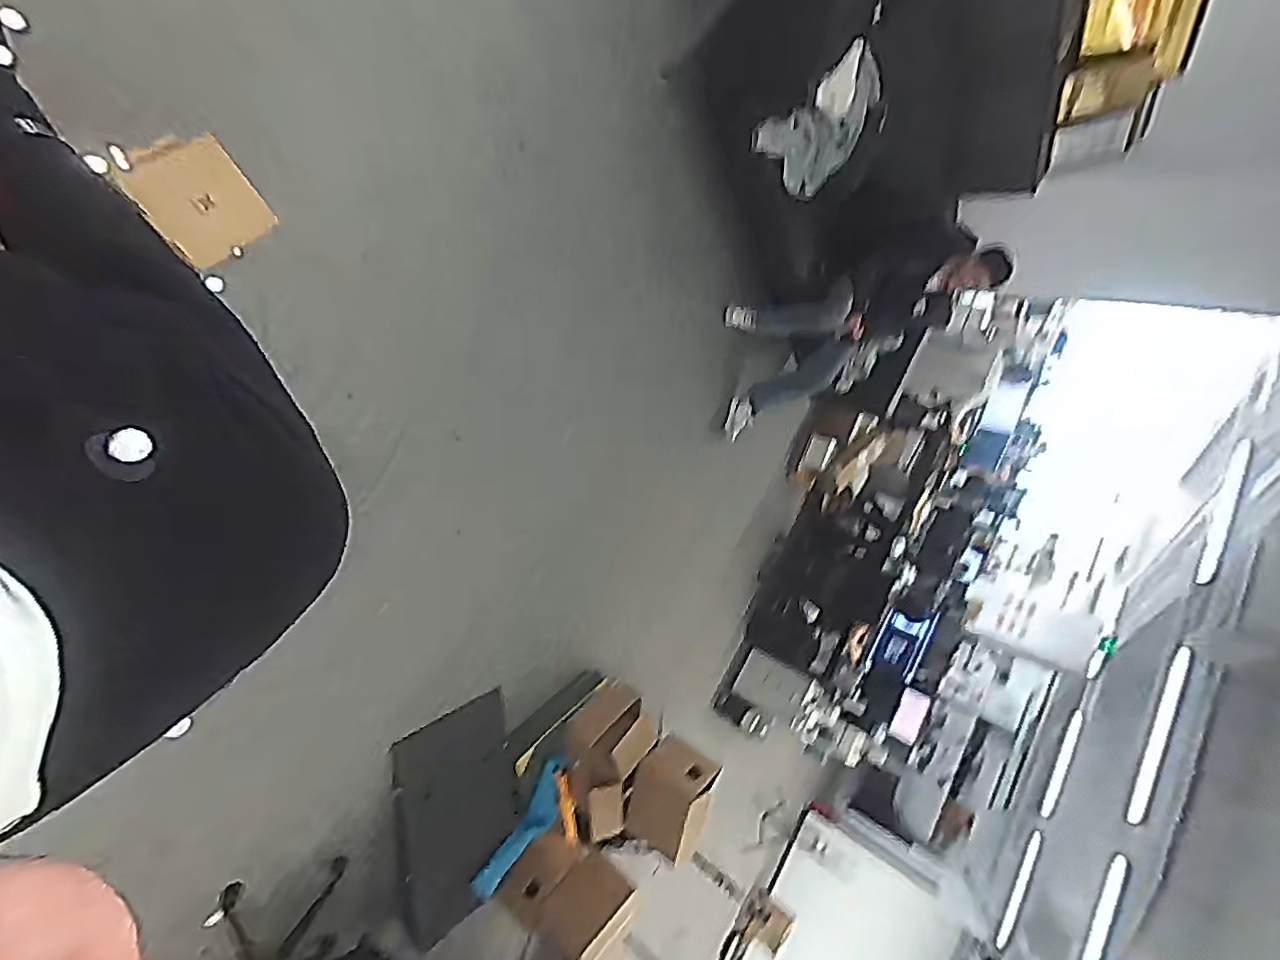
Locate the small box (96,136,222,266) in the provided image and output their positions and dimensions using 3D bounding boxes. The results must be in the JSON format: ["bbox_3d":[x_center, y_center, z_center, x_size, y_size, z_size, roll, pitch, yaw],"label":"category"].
[{"bbox_3d":[-0.956,-0.554,1.092,0.168,0.176,0.179,12,96,-56],"label":"small box"}]

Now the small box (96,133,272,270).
[{"bbox_3d":[-0.842,-0.510,0.997,0.179,0.176,0.168,-52,143,-25],"label":"small box"}]
